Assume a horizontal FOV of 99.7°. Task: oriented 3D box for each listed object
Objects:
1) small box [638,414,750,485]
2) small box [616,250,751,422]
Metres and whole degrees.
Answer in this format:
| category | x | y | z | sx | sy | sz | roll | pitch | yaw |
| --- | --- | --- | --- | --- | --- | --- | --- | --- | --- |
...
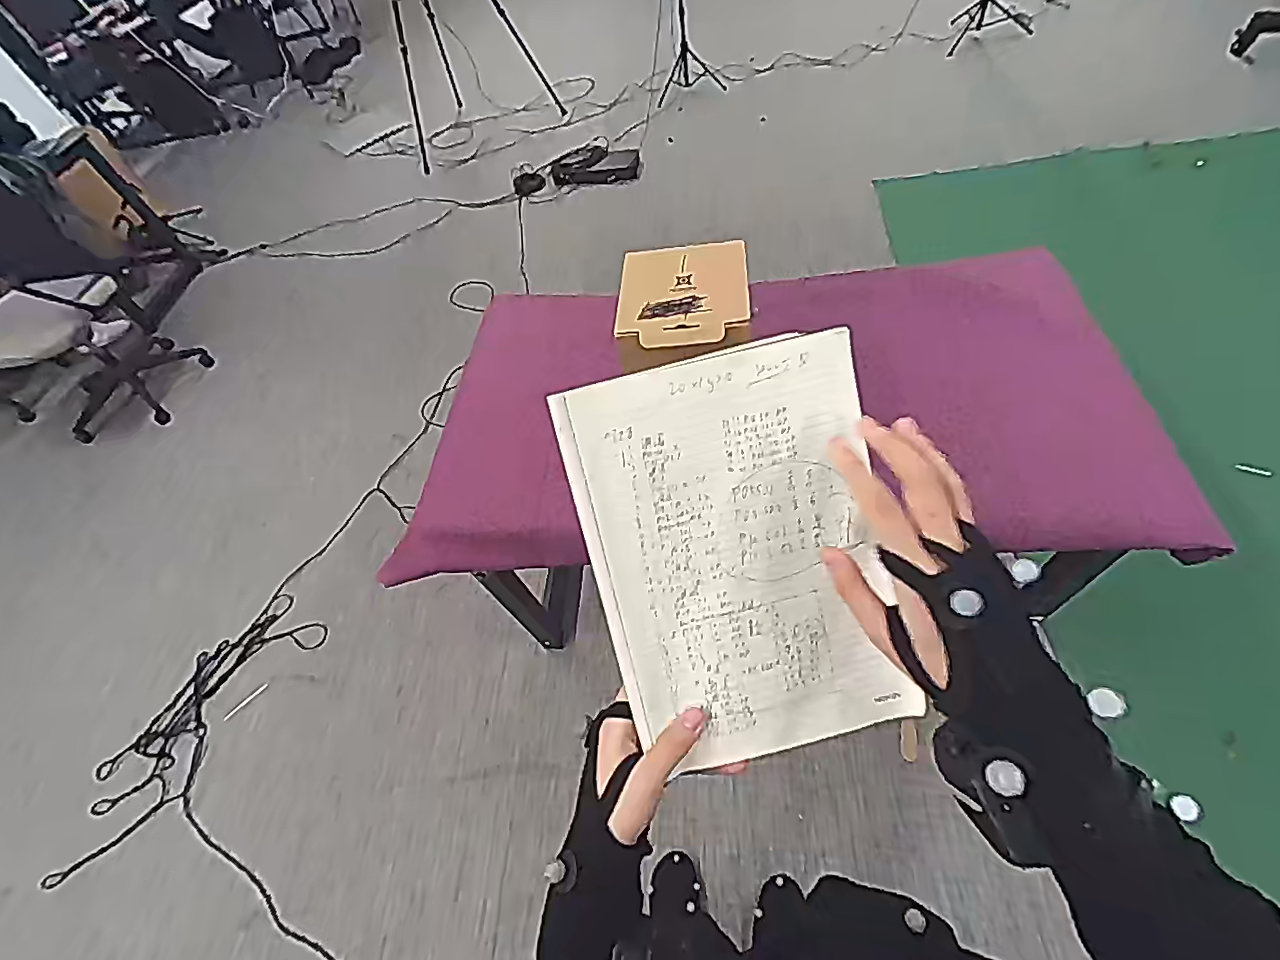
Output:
| category | x | y | z | sx | sy | sz | roll | pitch | yaw |
| --- | --- | --- | --- | --- | --- | --- | --- | --- | --- |
| small box | 0.097 | -0.103 | 0.899 | 0.168 | 0.176 | 0.179 | -2 | 55 | 10 |
| small box | 0.070 | -0.193 | 0.763 | 0.168 | 0.176 | 0.179 | -2 | 53 | 10 |
